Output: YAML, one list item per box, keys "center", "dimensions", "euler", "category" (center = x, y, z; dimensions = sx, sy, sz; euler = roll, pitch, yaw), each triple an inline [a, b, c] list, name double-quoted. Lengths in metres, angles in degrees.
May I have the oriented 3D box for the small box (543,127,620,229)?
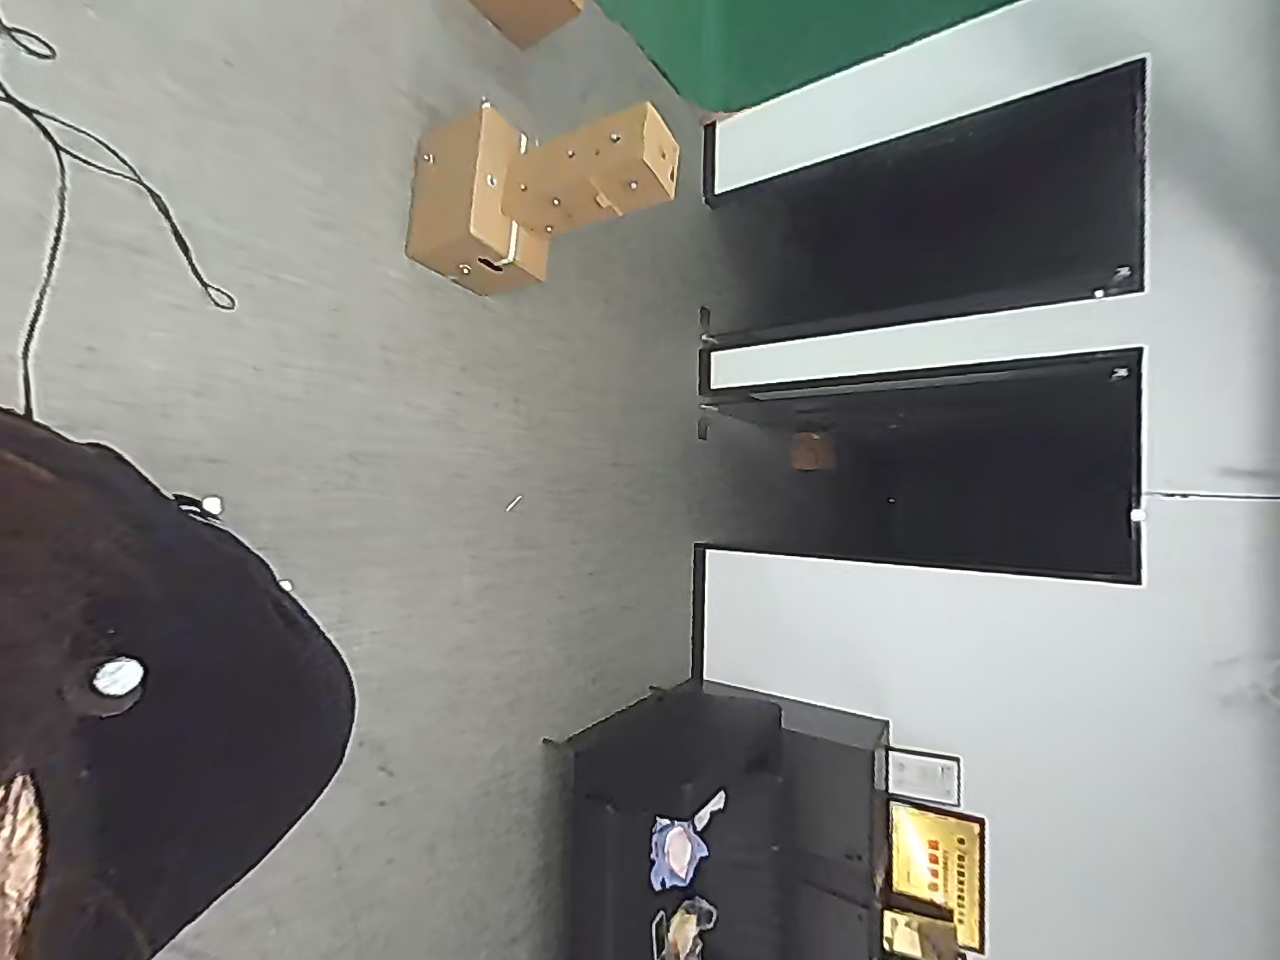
- center: [-0.160, -0.858, 1.556]
  dimensions: [0.168, 0.176, 0.179]
  euler: [22, 71, -57]
  category: "small box"

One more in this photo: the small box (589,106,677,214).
- center: [-0.019, -0.858, 1.472]
  dimensions: [0.179, 0.176, 0.168]
  euler: [20, 74, -56]
  category: "small box"

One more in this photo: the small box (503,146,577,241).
- center: [-0.297, -0.861, 1.647]
  dimensions: [0.168, 0.176, 0.179]
  euler: [20, 73, -57]
  category: "small box"

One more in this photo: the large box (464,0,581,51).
- center: [-0.449, -1.810, 1.852]
  dimensions: [0.408, 0.320, 0.320]
  euler: [2, 89, -57]
  category: "large box"
